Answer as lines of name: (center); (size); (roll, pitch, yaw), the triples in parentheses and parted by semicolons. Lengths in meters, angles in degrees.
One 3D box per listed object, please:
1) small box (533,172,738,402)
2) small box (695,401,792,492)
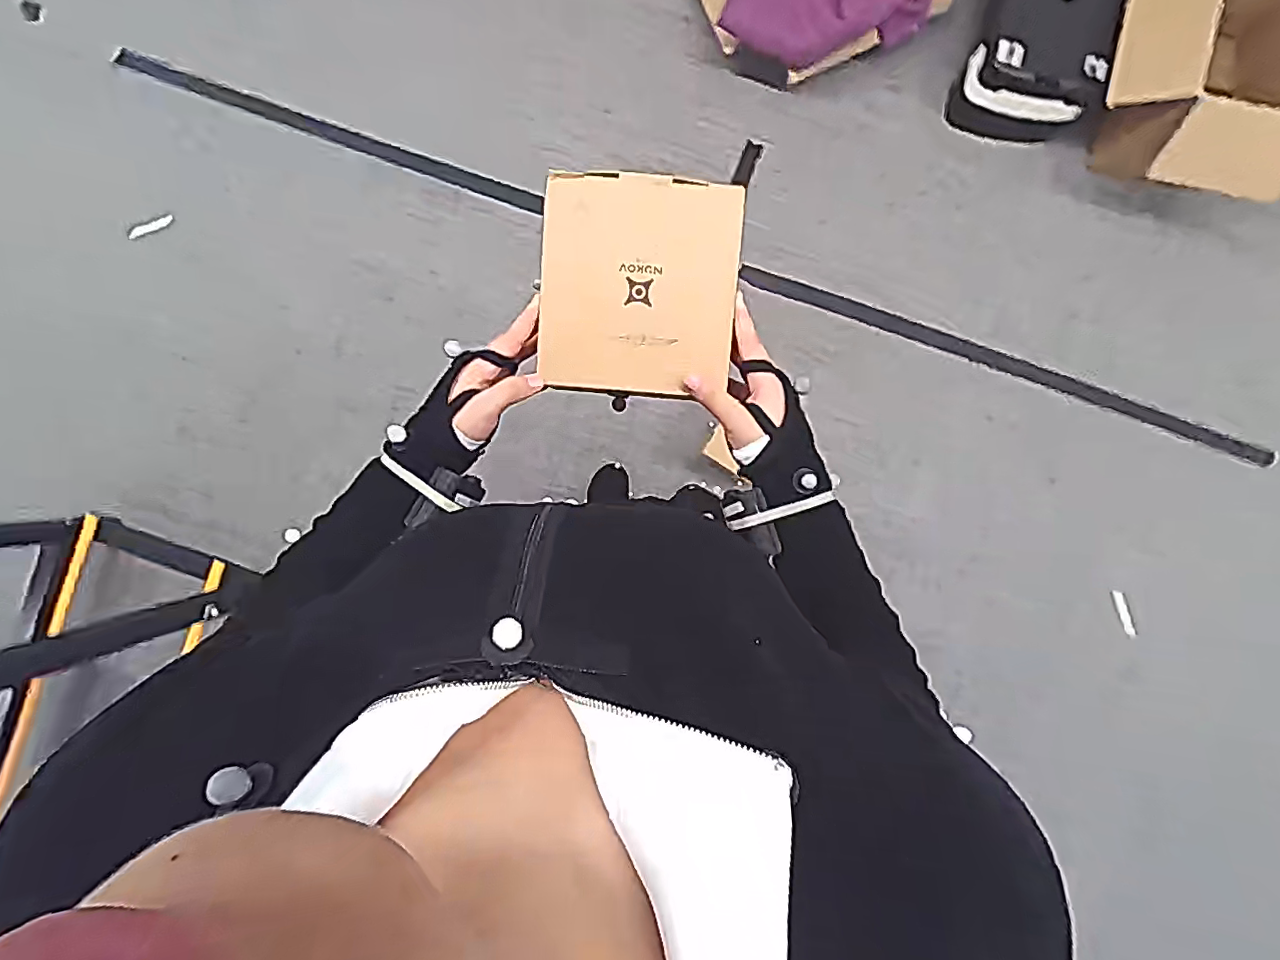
small box: (-0.007, -0.173, 0.540); (0.168, 0.176, 0.179); (4, 97, -2)
small box: (0.263, -0.086, 1.415); (0.179, 0.176, 0.168); (34, 91, 0)
